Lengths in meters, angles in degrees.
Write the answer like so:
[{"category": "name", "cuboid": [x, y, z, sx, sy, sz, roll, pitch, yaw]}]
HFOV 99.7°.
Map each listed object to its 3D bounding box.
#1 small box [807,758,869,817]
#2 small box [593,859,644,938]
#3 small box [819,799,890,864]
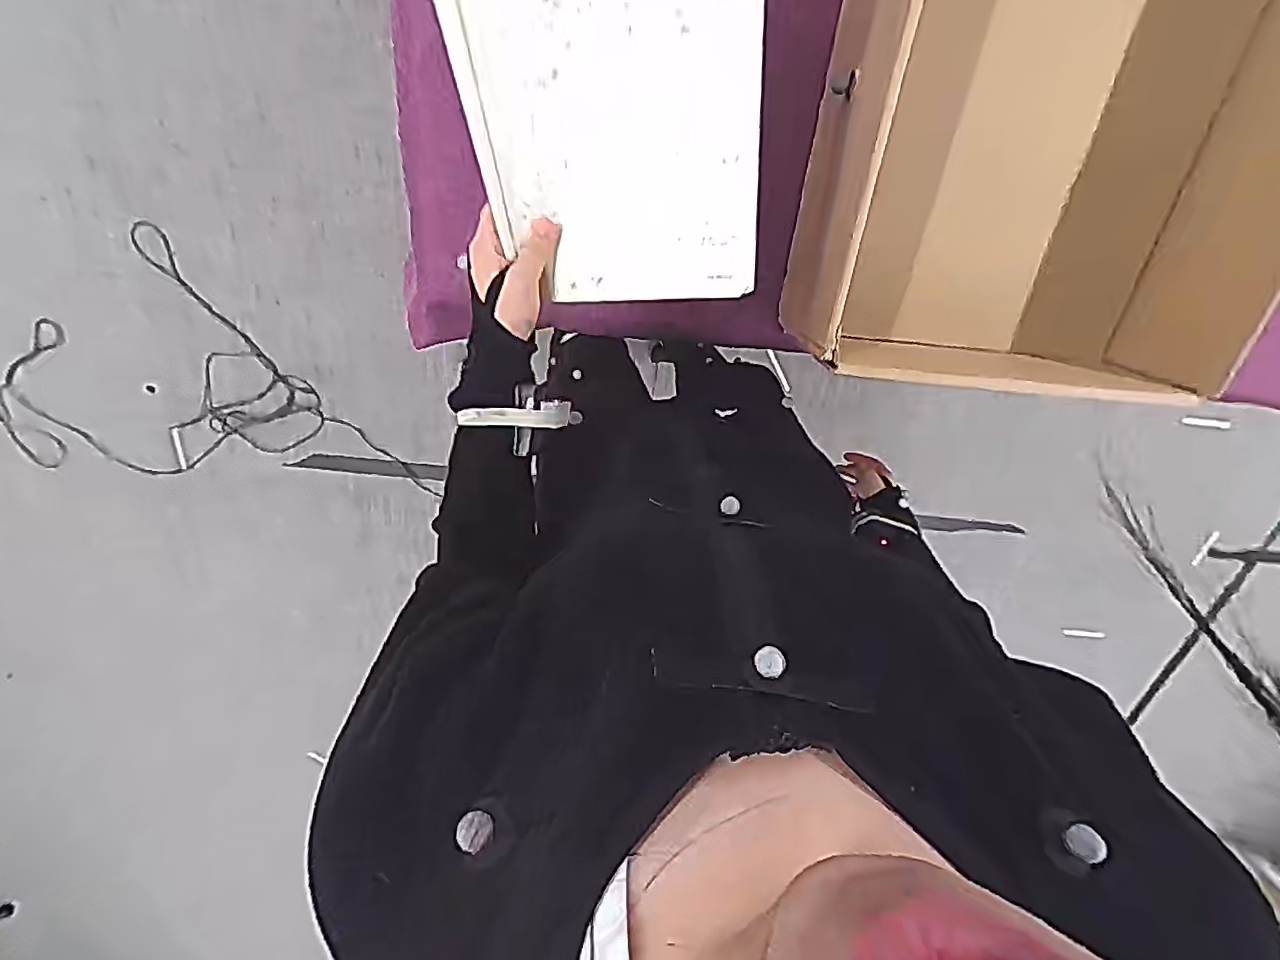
[{"category": "small box", "cuboid": [0.787, 1.251, 2.161, 0.179, 0.176, 0.168, -28, 116, 14]}, {"category": "small box", "cuboid": [-0.077, 1.460, 1.890, 0.168, 0.176, 0.179, 3, 118, -3]}, {"category": "small box", "cuboid": [0.795, 1.326, 2.017, 0.179, 0.176, 0.168, -27, 116, 13]}]
